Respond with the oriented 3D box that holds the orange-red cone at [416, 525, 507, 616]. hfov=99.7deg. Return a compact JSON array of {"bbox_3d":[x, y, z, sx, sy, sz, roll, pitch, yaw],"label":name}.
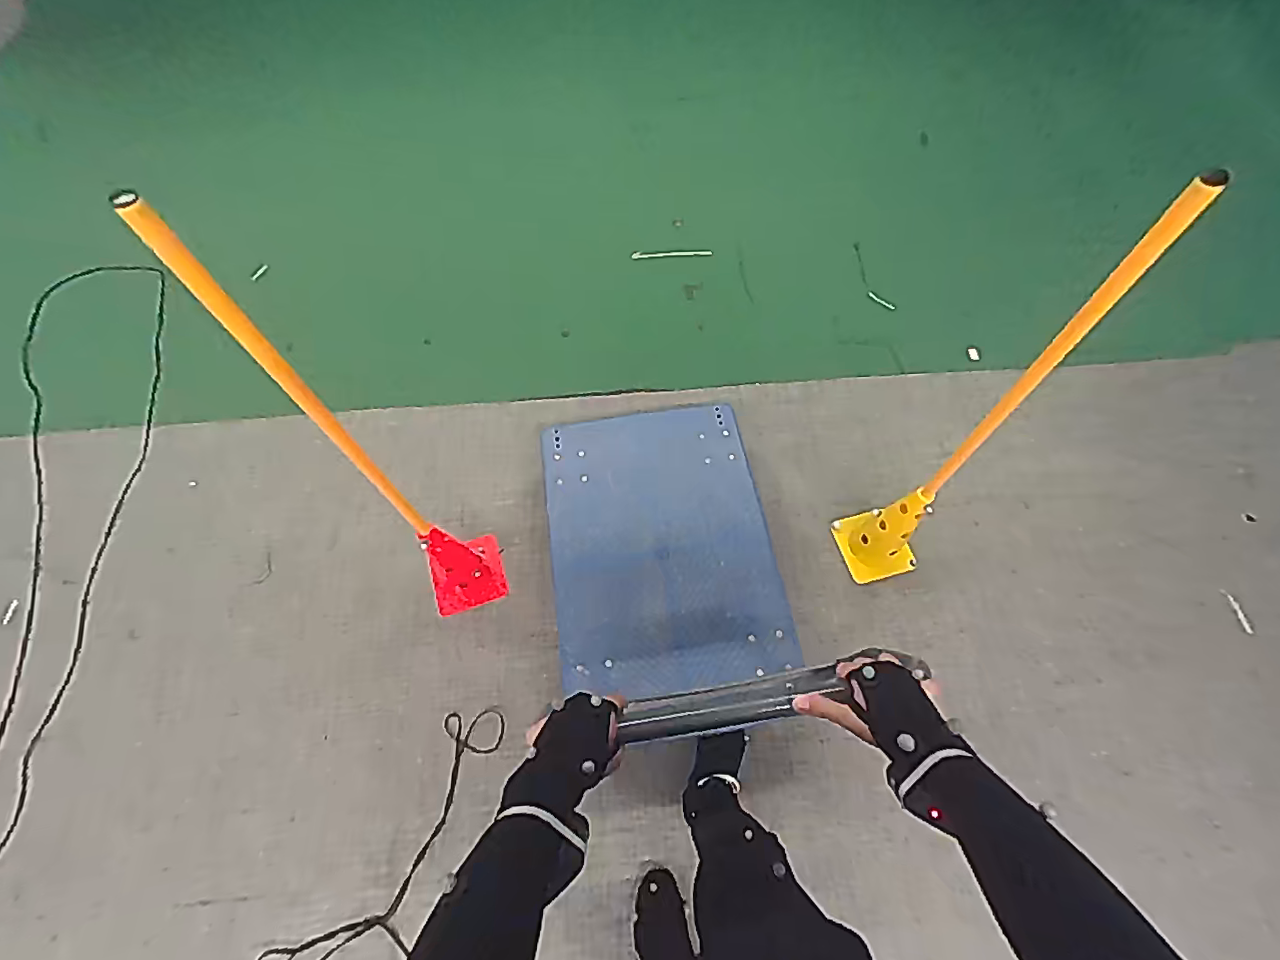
[{"bbox_3d":[-0.496,0.200,1.400,0.199,0.360,0.198,-18,64,-7],"label":"orange-red cone"}]
